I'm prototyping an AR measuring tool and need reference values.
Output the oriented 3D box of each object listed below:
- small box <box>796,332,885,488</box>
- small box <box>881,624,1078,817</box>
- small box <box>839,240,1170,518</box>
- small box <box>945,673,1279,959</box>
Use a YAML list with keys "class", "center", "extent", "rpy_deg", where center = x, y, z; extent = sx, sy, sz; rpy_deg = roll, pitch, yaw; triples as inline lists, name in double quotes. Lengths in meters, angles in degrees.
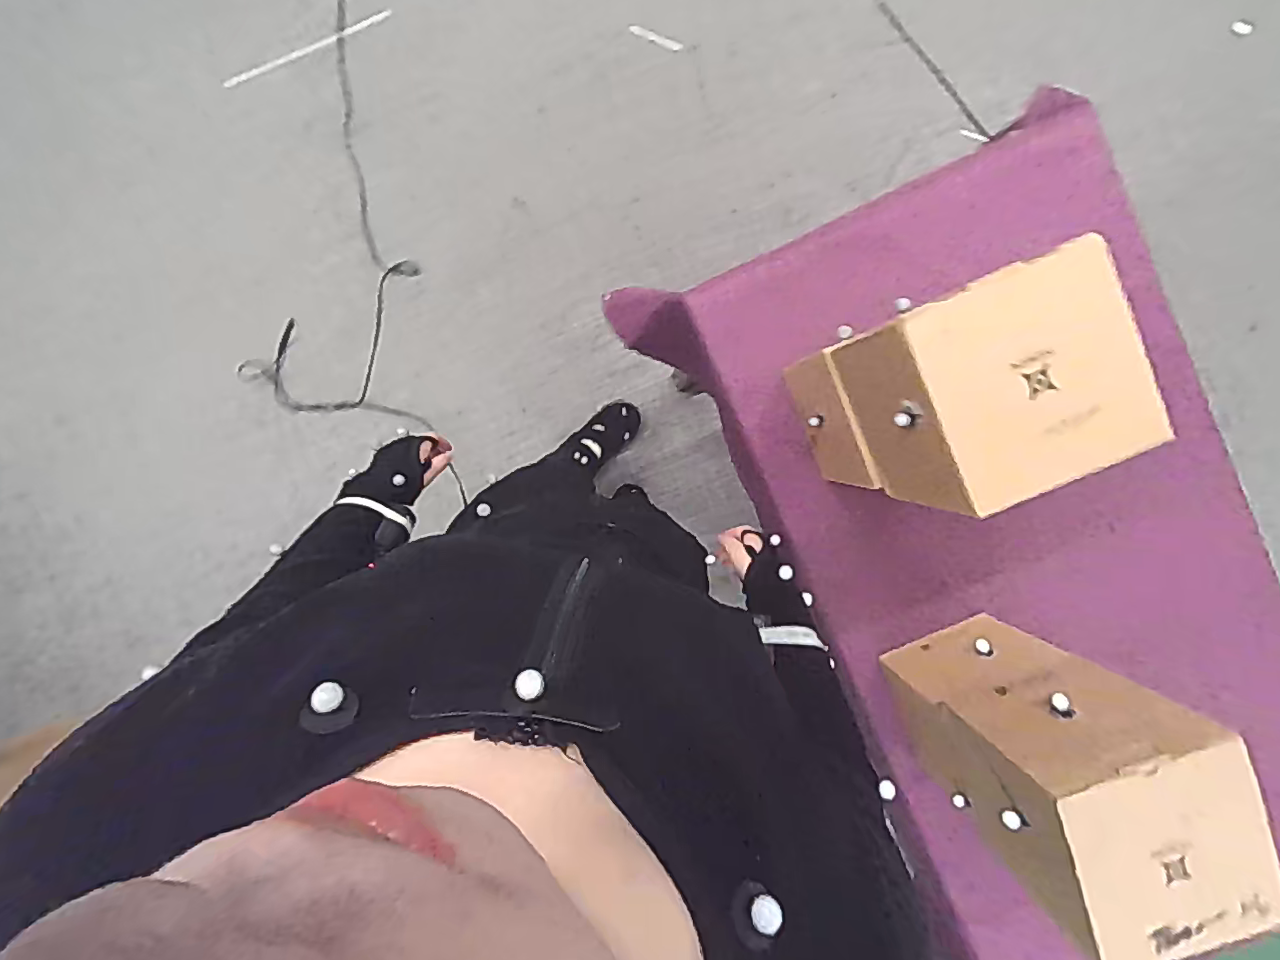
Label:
- class: "small box"
  center: [0.308, -0.100, 0.665]
  extent: [0.179, 0.176, 0.168]
  rpy_deg: [-21, 95, 1]
- class: "small box"
  center: [0.443, 0.305, 0.697]
  extent: [0.168, 0.176, 0.179]
  rpy_deg: [-22, 94, 1]
- class: "small box"
  center: [0.311, -0.083, 0.502]
  extent: [0.168, 0.176, 0.179]
  rpy_deg: [-22, 94, 3]
- class: "small box"
  center: [0.437, 0.312, 0.532]
  extent: [0.168, 0.176, 0.179]
  rpy_deg: [-17, 94, 1]
